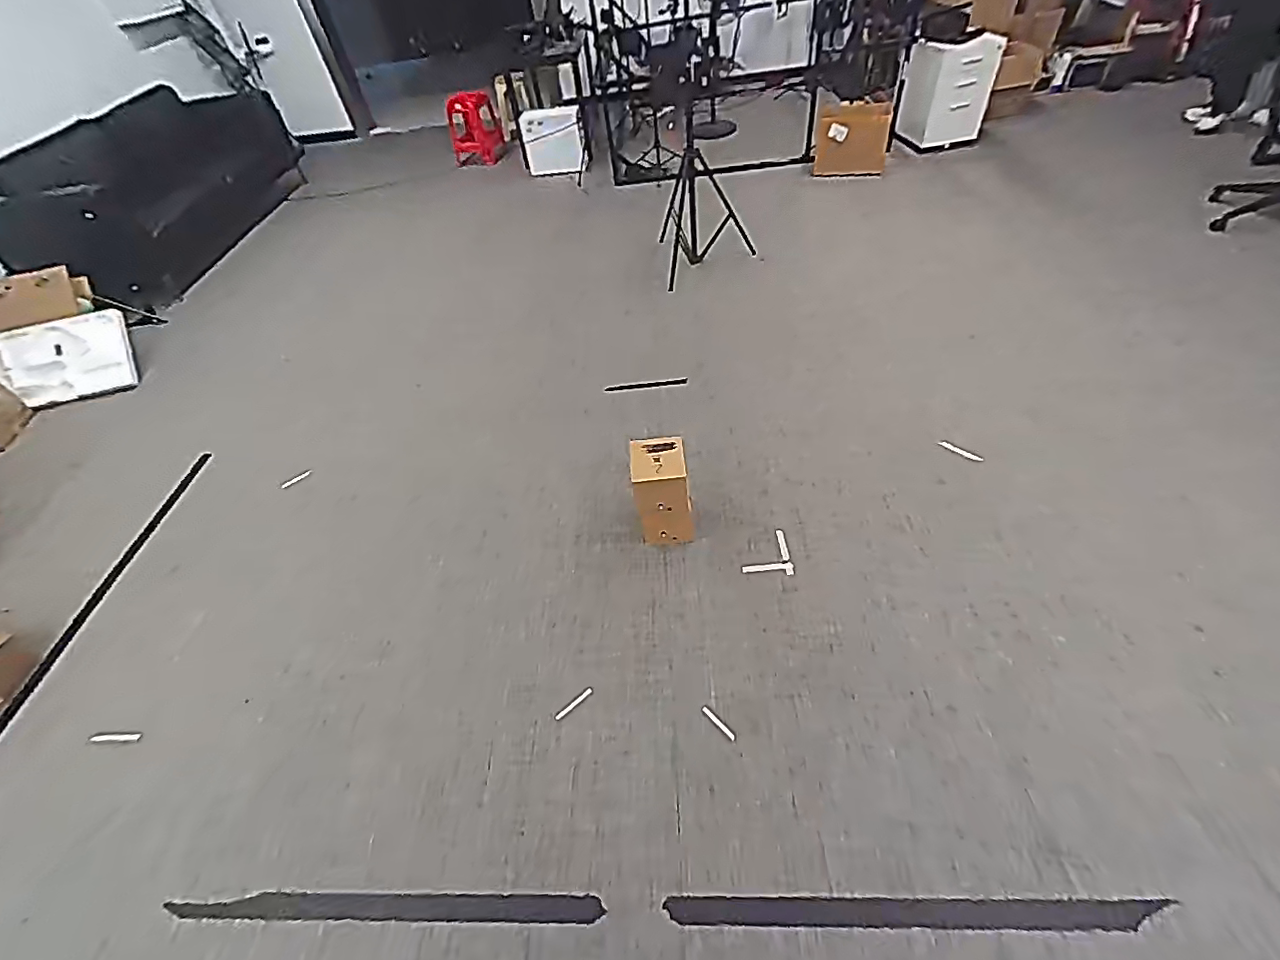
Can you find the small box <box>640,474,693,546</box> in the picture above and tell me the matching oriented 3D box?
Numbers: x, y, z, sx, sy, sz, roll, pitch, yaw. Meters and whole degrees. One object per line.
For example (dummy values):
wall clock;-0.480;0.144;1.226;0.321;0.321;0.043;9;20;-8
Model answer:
small box;0.089;0.102;1.827;0.168;0.176;0.179;-6;47;3
